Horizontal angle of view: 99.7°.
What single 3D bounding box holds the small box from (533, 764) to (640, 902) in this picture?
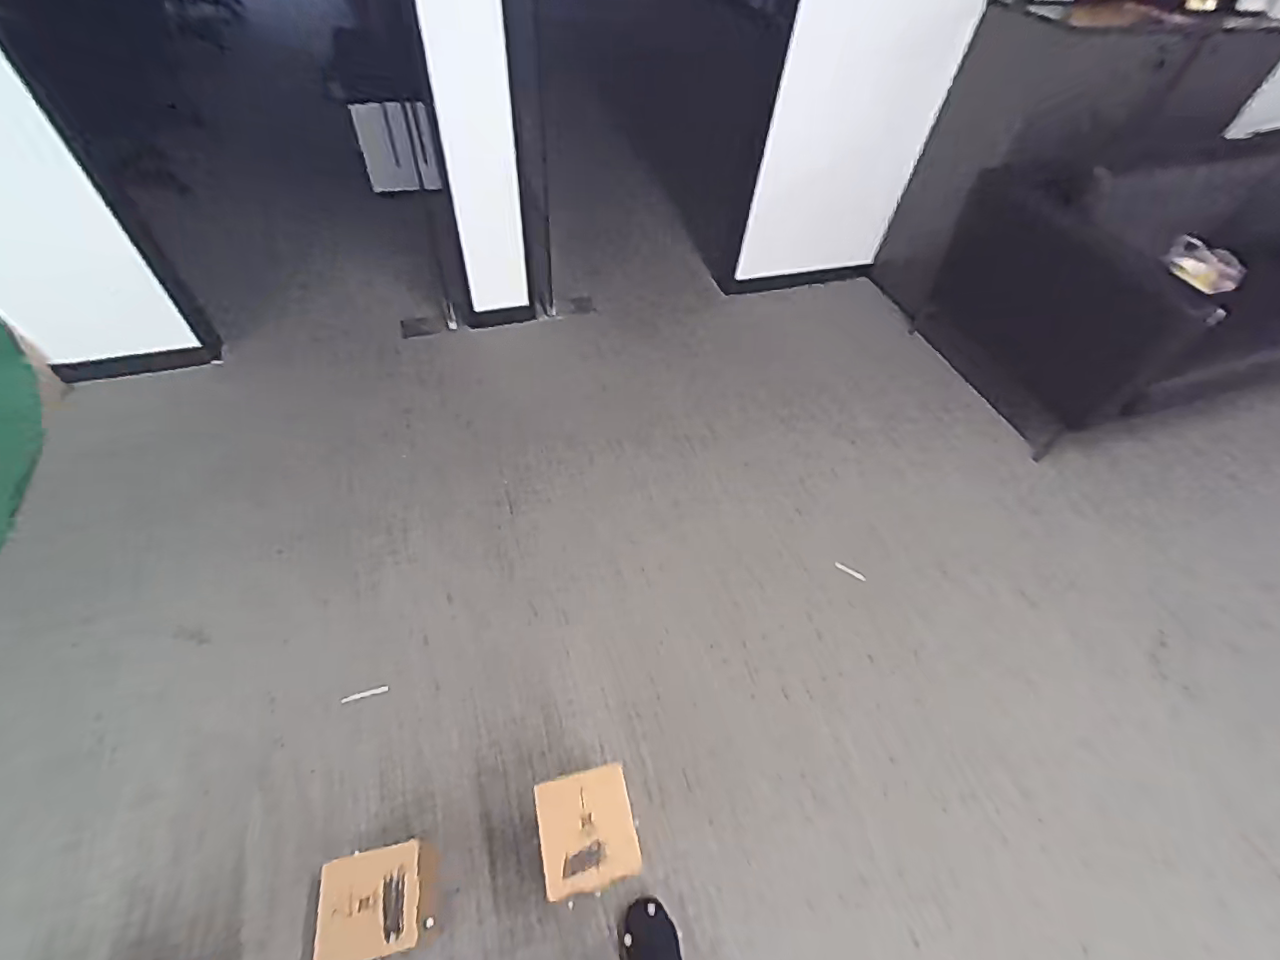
[{"bbox_3d":[-0.101,0.661,1.011,0.168,0.176,0.179,-9,52,-13],"label":"small box"}]
